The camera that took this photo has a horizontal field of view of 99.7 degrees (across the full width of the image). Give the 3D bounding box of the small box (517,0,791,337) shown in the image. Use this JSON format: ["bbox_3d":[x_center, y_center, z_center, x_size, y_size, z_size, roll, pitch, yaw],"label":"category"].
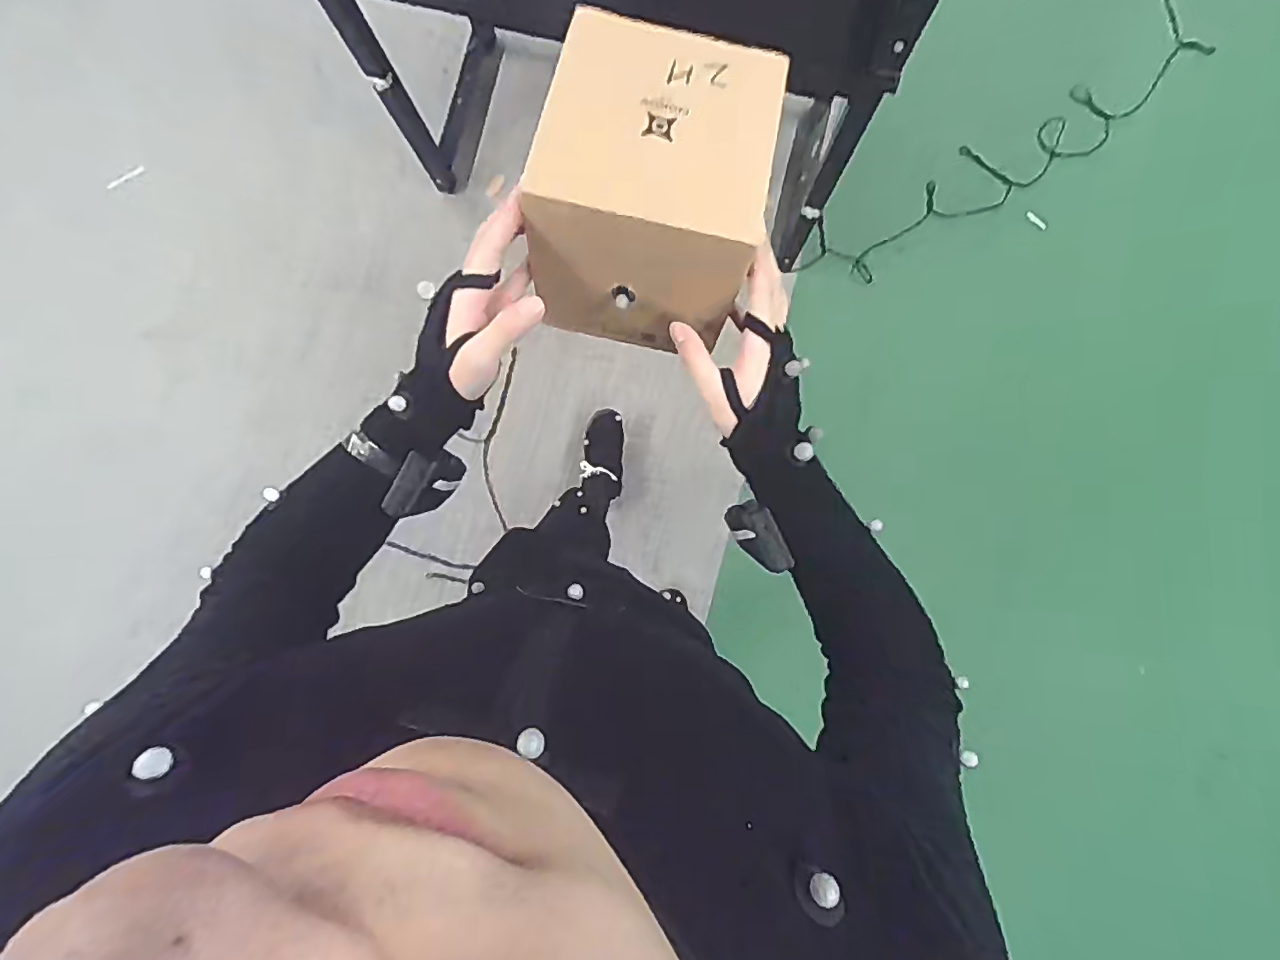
[{"bbox_3d":[0.010,-0.246,0.455,0.168,0.176,0.179,13,75,-1],"label":"small box"}]
